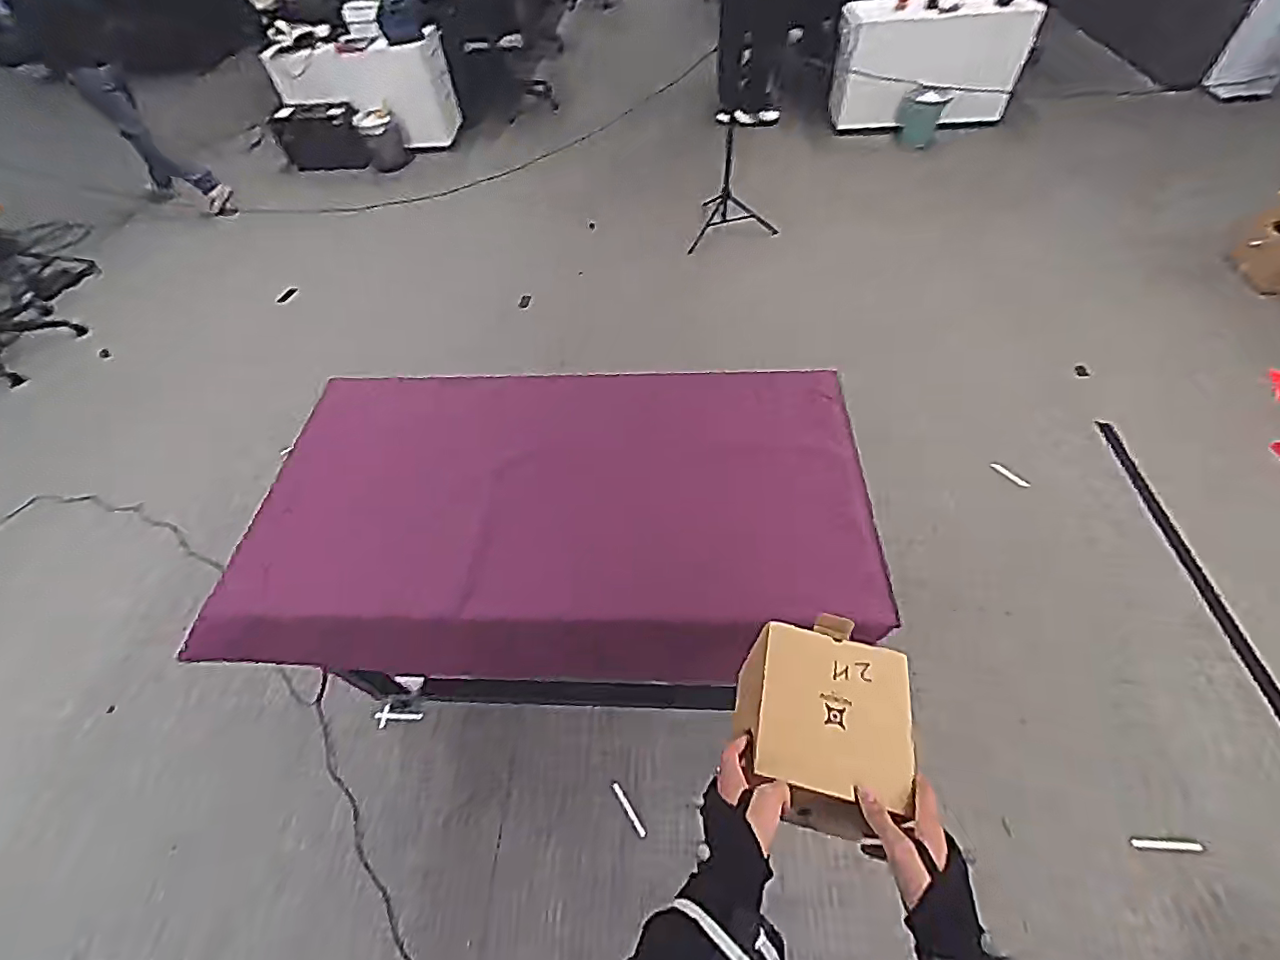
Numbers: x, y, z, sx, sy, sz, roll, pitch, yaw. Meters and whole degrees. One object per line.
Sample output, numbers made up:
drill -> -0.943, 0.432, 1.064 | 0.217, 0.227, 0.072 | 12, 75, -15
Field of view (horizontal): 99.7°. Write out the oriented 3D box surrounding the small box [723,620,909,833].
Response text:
small box -> 0.202, 0.303, 0.656 | 0.168, 0.176, 0.179 | 13, 49, 5
